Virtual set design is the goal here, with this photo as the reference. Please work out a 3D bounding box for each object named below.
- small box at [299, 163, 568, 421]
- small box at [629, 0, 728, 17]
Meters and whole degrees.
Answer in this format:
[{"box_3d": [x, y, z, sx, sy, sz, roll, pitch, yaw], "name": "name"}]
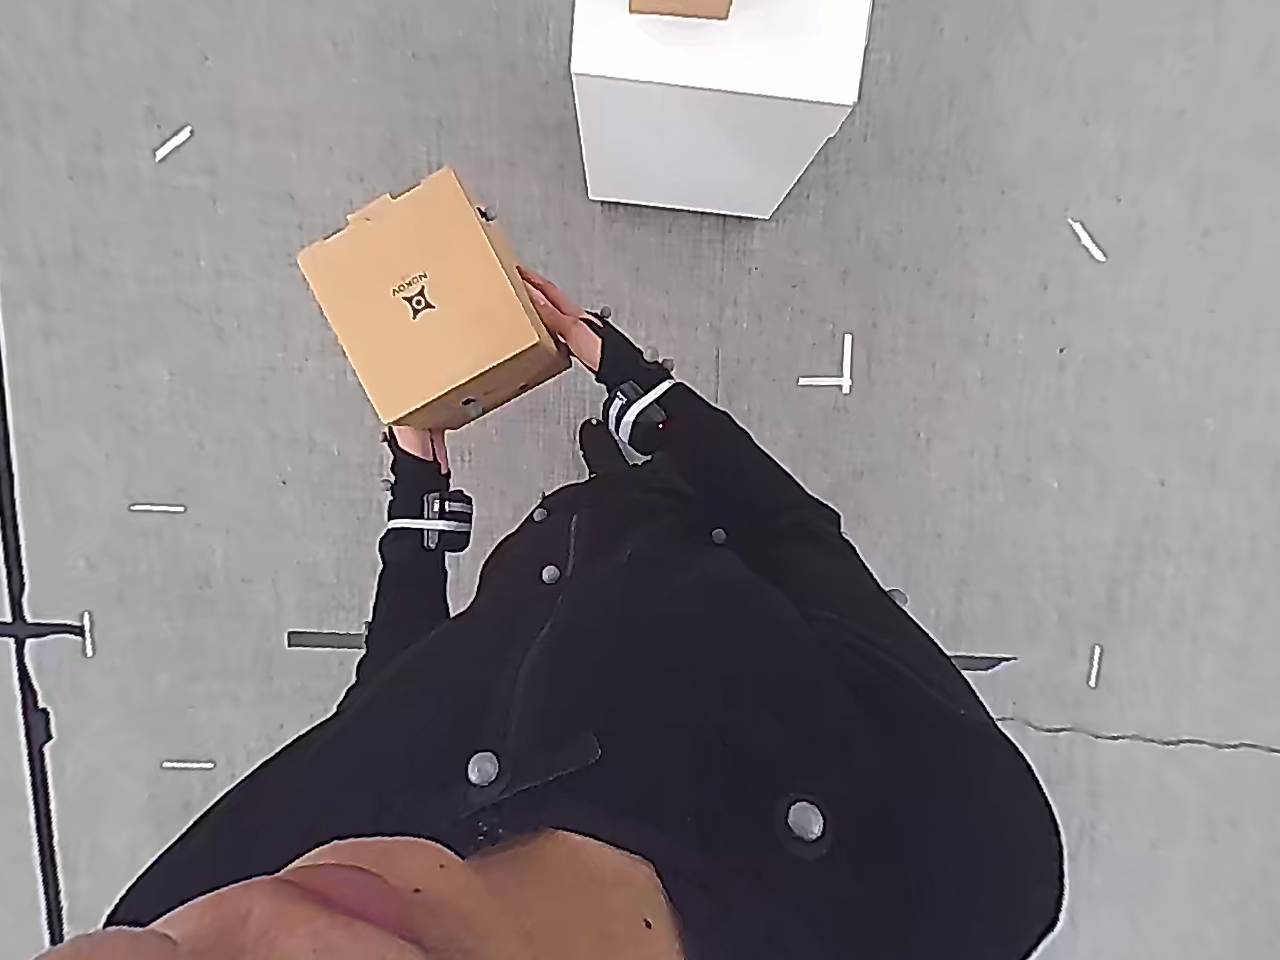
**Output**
[{"box_3d": [-0.194, -0.173, 0.564, 0.168, 0.176, 0.179, -28, 91, 4], "name": "small box"}, {"box_3d": [0.072, -0.880, 0.853, 0.179, 0.176, 0.168, 2, 97, -4], "name": "small box"}]
